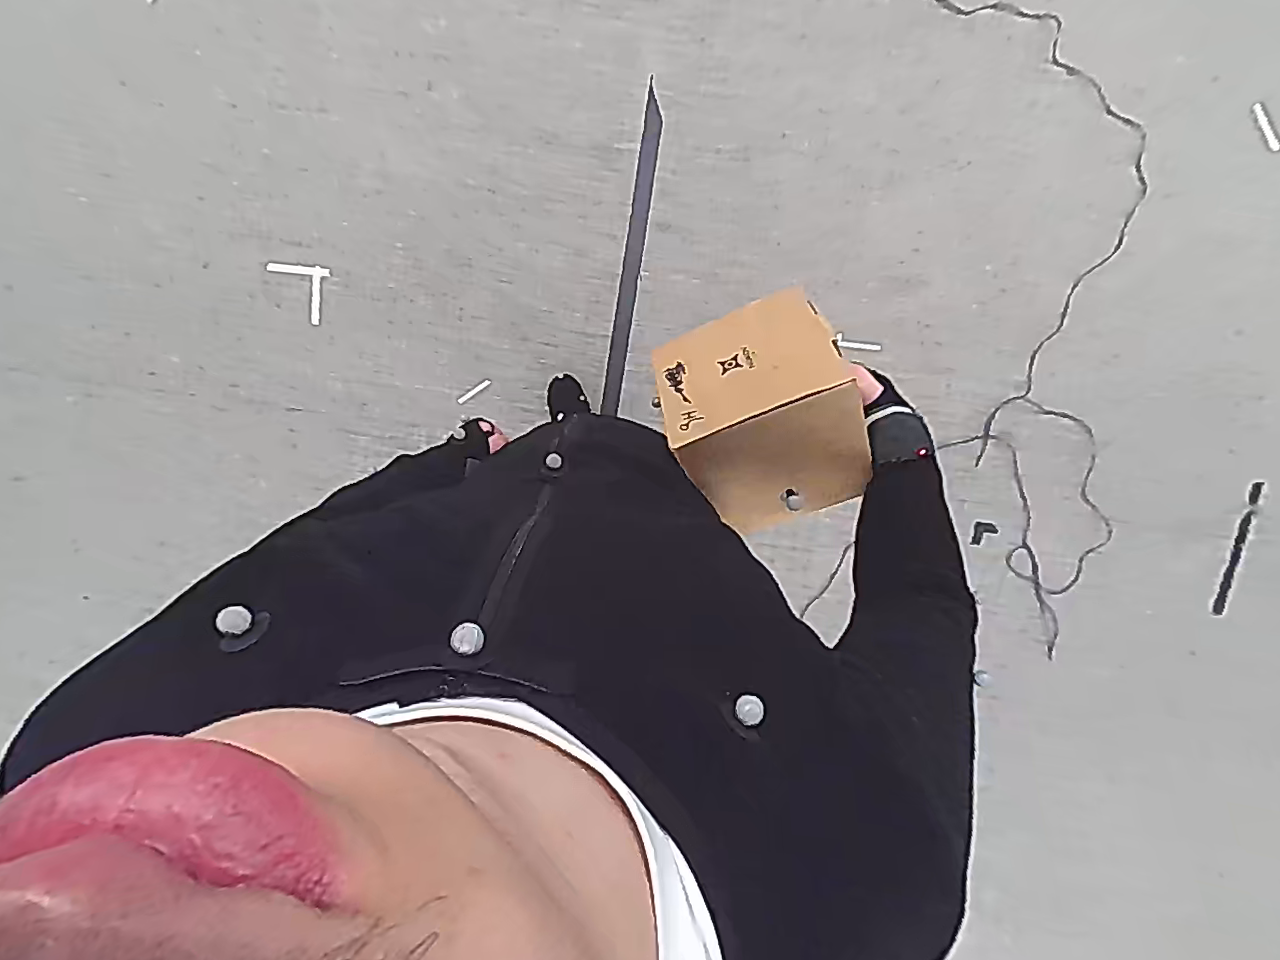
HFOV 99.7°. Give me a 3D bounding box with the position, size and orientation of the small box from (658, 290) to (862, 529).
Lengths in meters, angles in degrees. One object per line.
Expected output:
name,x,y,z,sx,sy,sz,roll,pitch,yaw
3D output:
small box,0.137,-0.072,0.609,0.179,0.168,0.176,-20,135,14
